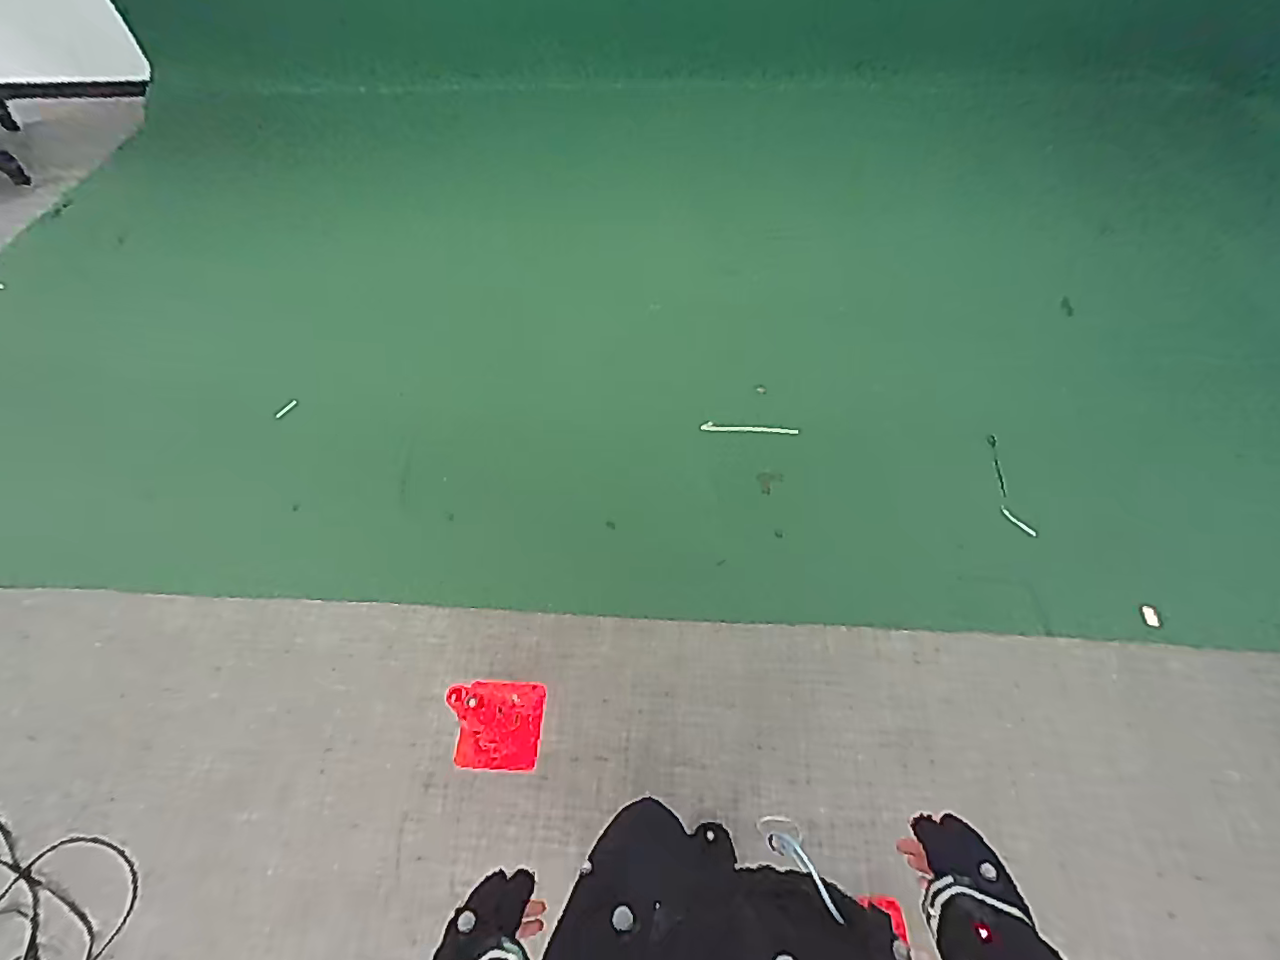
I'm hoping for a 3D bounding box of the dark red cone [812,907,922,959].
[{"bbox_3d":[0.438,0.857,0.902,0.202,0.394,0.201,-3,56,1],"label":"dark red cone"}]

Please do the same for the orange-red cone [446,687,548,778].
[{"bbox_3d":[-0.342,0.524,1.181,0.198,0.360,0.199,1,58,5],"label":"orange-red cone"}]
